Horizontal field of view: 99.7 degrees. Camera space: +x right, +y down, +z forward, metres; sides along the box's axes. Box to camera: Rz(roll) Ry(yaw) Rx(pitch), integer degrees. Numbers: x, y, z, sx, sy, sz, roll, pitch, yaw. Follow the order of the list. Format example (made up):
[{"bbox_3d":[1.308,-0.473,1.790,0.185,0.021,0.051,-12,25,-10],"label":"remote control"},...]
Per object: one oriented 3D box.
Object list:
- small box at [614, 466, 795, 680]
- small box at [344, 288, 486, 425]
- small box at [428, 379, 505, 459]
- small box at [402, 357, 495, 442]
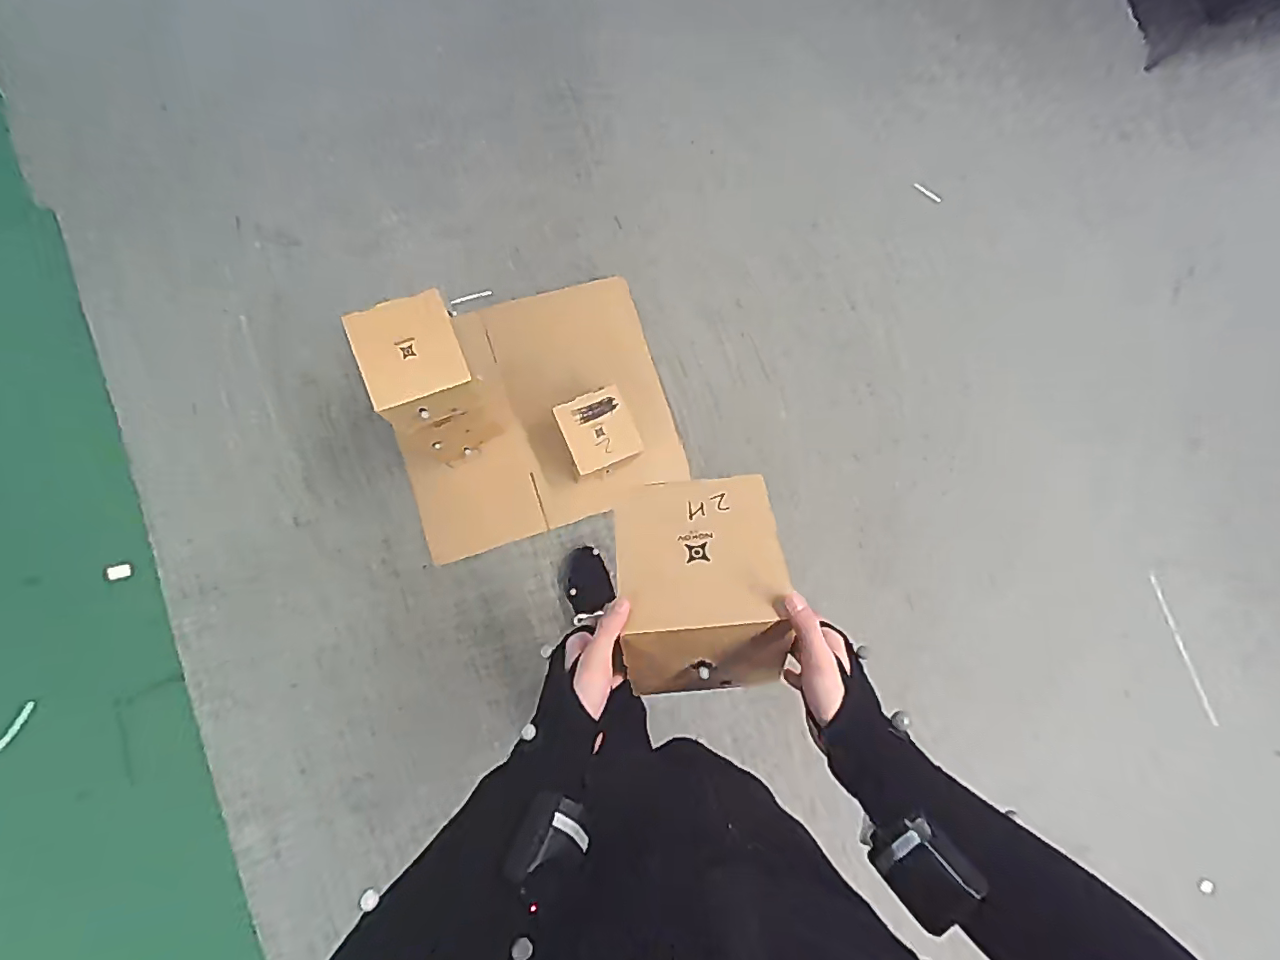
[{"bbox_3d":[0.063,0.109,0.597,0.168,0.176,0.179,-5,50,1],"label":"small box"},{"bbox_3d":[-0.394,-0.210,0.980,0.168,0.176,0.179,-21,86,-9],"label":"small box"},{"bbox_3d":[-0.440,-0.169,1.299,0.168,0.176,0.179,-25,88,-10],"label":"small box"},{"bbox_3d":[-0.419,-0.188,1.138,0.168,0.176,0.179,-22,86,-9],"label":"small box"}]
